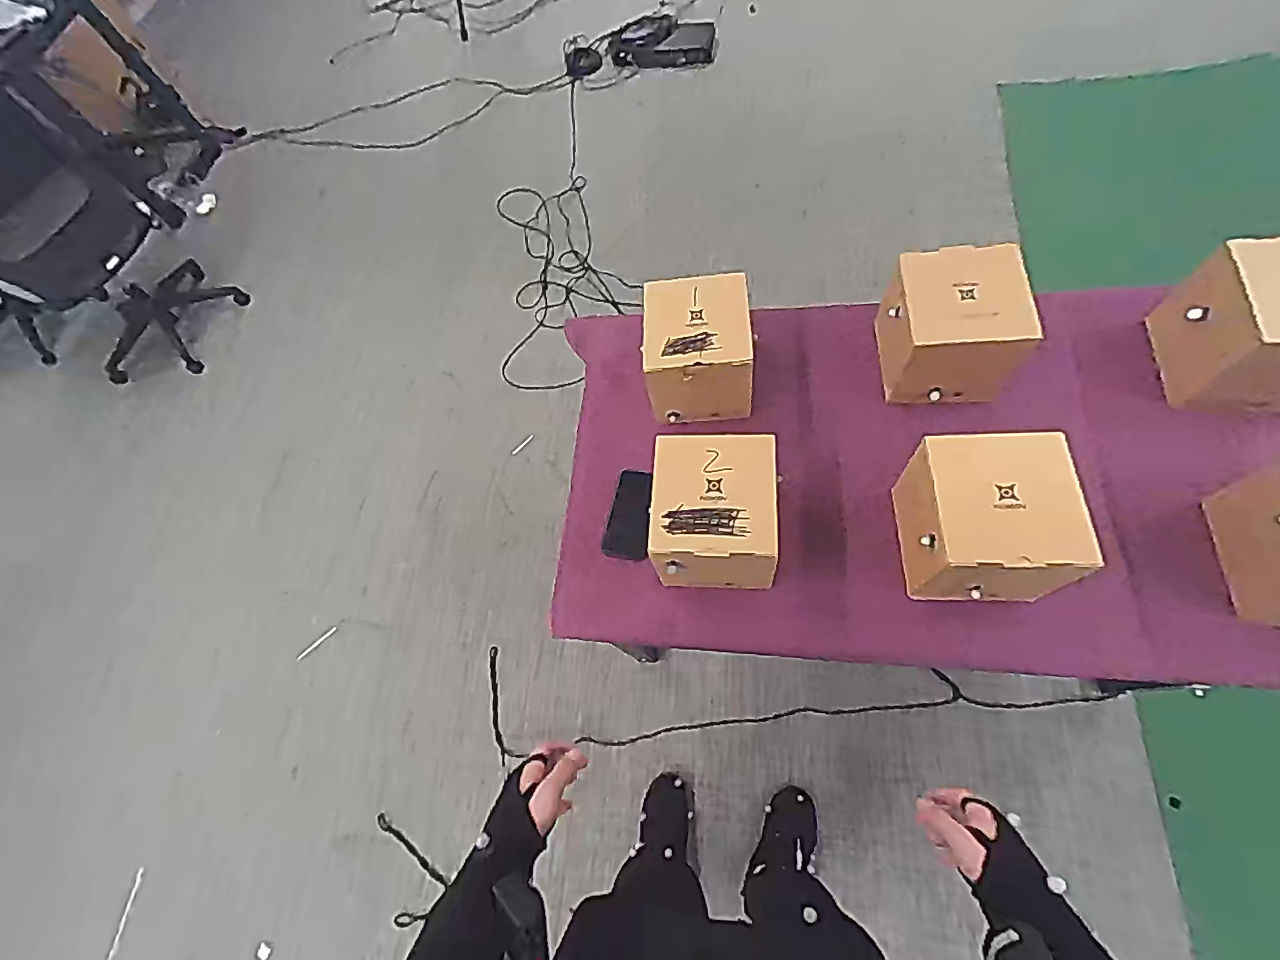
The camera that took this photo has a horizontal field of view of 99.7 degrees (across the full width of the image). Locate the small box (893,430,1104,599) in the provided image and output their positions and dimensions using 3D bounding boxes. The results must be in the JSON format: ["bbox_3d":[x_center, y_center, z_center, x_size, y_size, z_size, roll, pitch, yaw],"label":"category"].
[{"bbox_3d":[0.451,0.051,0.718,0.168,0.176,0.179,-1,66,9],"label":"small box"}]

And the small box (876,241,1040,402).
[{"bbox_3d":[0.478,-0.240,0.845,0.168,0.176,0.179,-1,67,11],"label":"small box"}]

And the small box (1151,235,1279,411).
[{"bbox_3d":[0.879,-0.217,0.761,0.168,0.176,0.179,3,66,12],"label":"small box"}]

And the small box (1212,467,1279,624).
[{"bbox_3d":[0.842,0.071,0.632,0.168,0.176,0.179,2,66,13],"label":"small box"}]

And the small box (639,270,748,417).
[{"bbox_3d":[0.094,-0.216,0.902,0.168,0.176,0.179,-3,65,8],"label":"small box"}]
